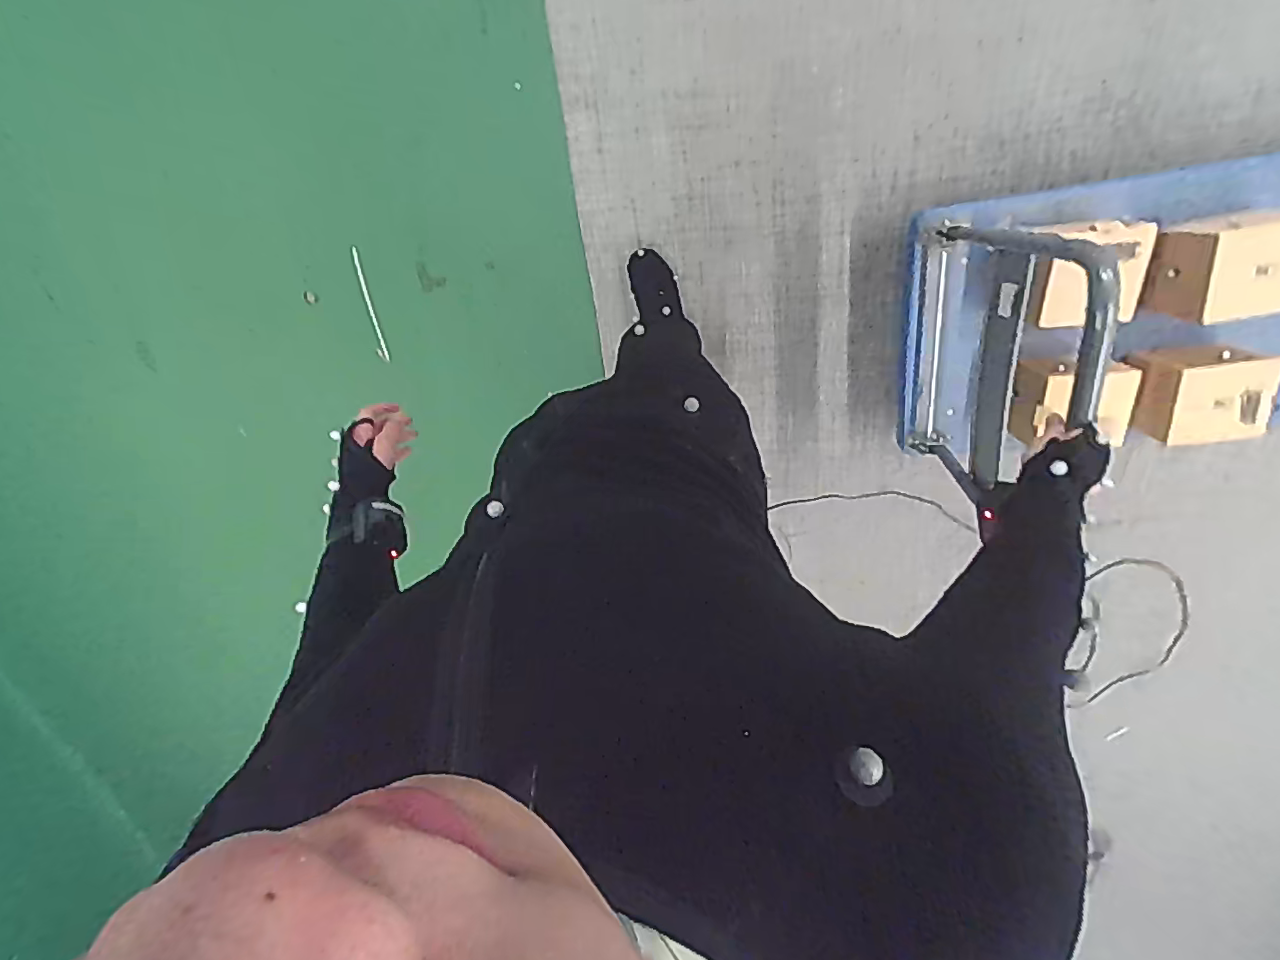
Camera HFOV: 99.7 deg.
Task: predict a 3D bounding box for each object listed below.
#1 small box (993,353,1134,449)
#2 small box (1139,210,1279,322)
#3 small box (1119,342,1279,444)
[{"bbox_3d":[0.930,-0.180,1.205,0.179,0.176,0.168,-3,116,10],"label":"small box"},{"bbox_3d":[1.137,-0.420,1.056,0.179,0.176,0.168,-8,115,12],"label":"small box"},{"bbox_3d":[1.175,-0.192,1.163,0.179,0.176,0.168,-6,114,11],"label":"small box"}]
